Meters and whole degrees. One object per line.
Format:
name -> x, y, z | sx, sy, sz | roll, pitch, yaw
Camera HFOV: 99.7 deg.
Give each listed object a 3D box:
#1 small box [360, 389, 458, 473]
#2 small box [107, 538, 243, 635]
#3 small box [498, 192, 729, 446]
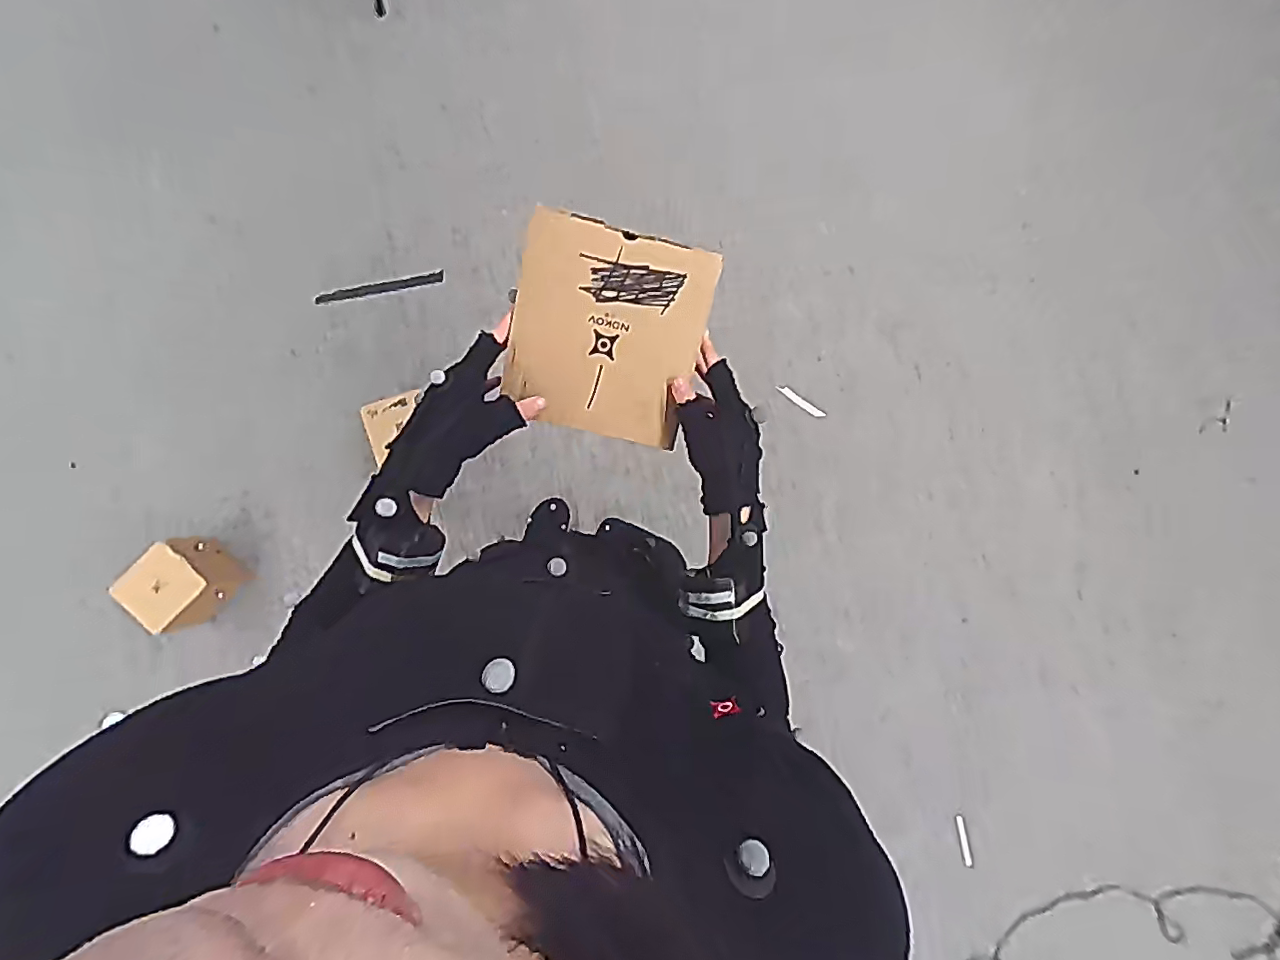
small box -> -0.603, -0.122, 1.432 | 0.168, 0.176, 0.179 | -18, 89, -4
small box -> -1.170, 0.262, 1.382 | 0.168, 0.176, 0.179 | 43, 86, 1
small box -> -0.030, -0.150, 0.533 | 0.168, 0.176, 0.179 | 13, 105, -7
